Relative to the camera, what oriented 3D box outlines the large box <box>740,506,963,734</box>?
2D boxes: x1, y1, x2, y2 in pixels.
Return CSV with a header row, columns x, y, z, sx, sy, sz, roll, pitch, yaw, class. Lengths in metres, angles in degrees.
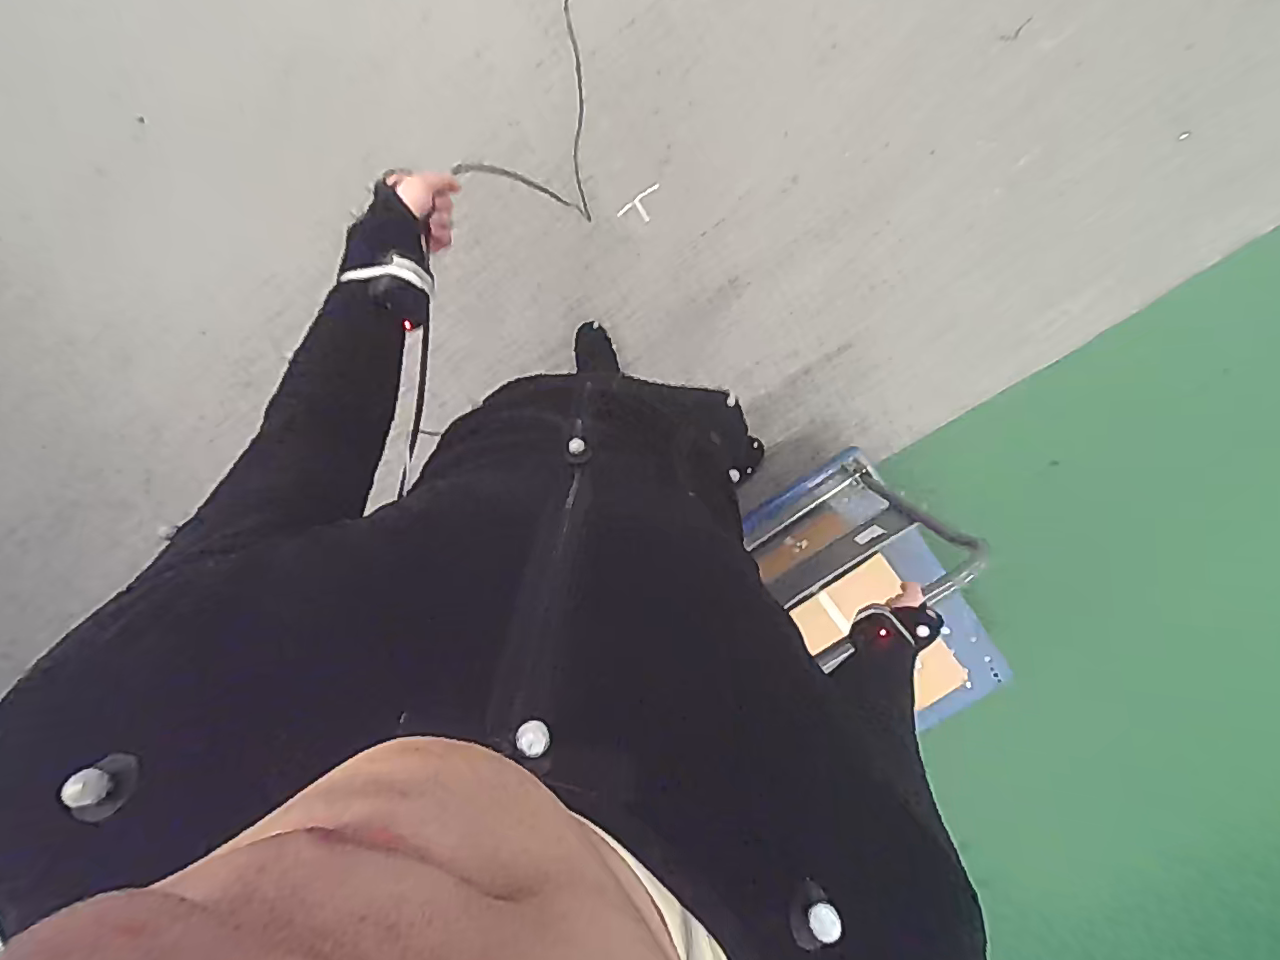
x,y,z,sx,sy,sz,roll,pitch,yaw,class
0.516,0.342,1.392,0.320,0.320,0.408,-36,102,11,large box
